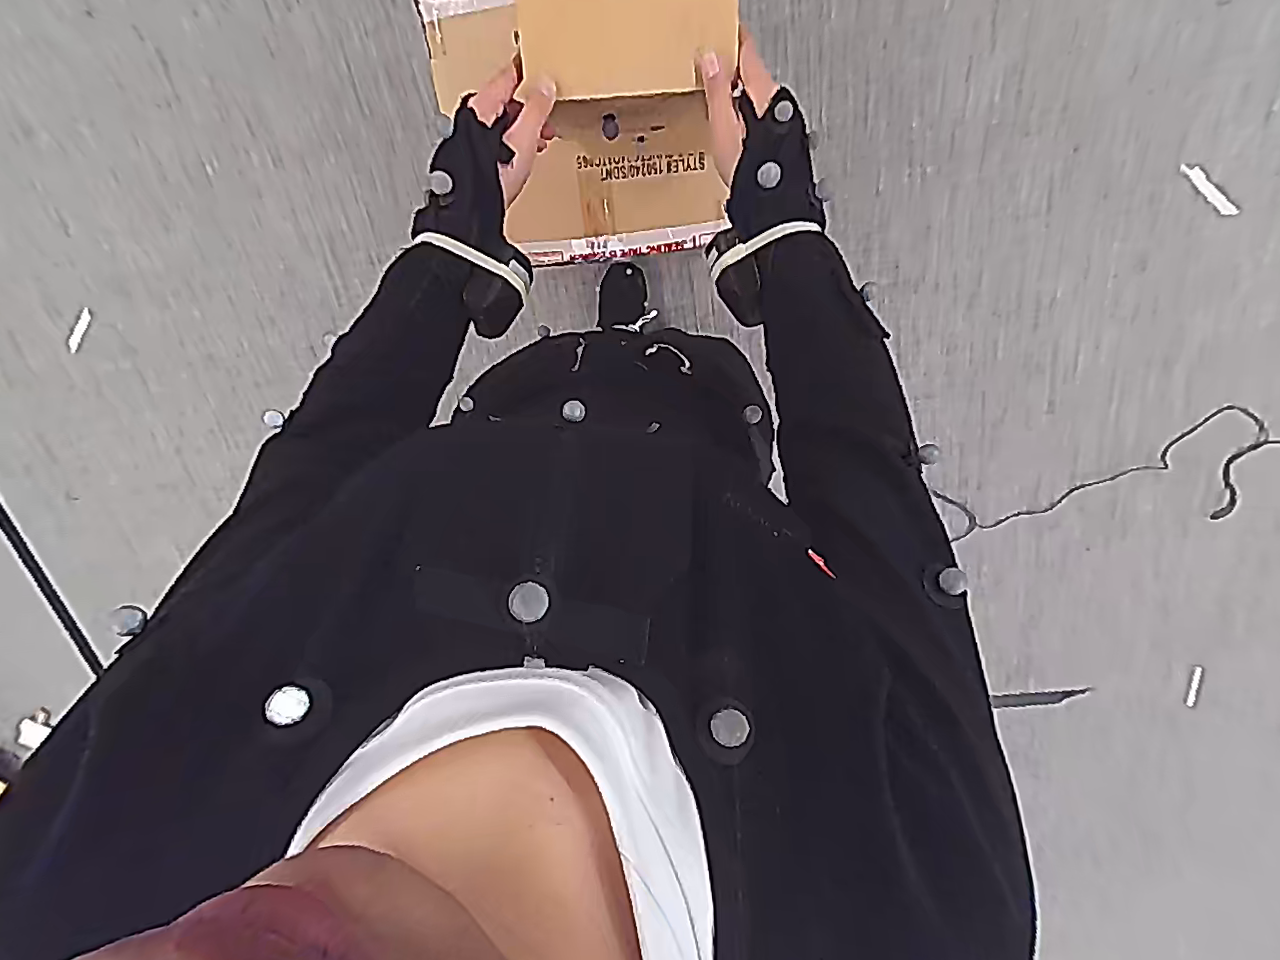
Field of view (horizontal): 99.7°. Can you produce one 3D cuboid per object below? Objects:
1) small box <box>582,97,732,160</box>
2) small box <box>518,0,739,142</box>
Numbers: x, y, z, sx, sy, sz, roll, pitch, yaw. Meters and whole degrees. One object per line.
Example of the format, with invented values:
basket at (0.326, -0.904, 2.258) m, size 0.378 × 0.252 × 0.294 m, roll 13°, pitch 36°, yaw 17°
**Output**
small box at (0.010, -0.476, 0.621) m, size 0.179 × 0.176 × 0.168 m, roll -2°, pitch 113°, yaw 2°
small box at (-0.007, -0.402, 0.460) m, size 0.168 × 0.176 × 0.179 m, roll -3°, pitch 112°, yaw 3°
